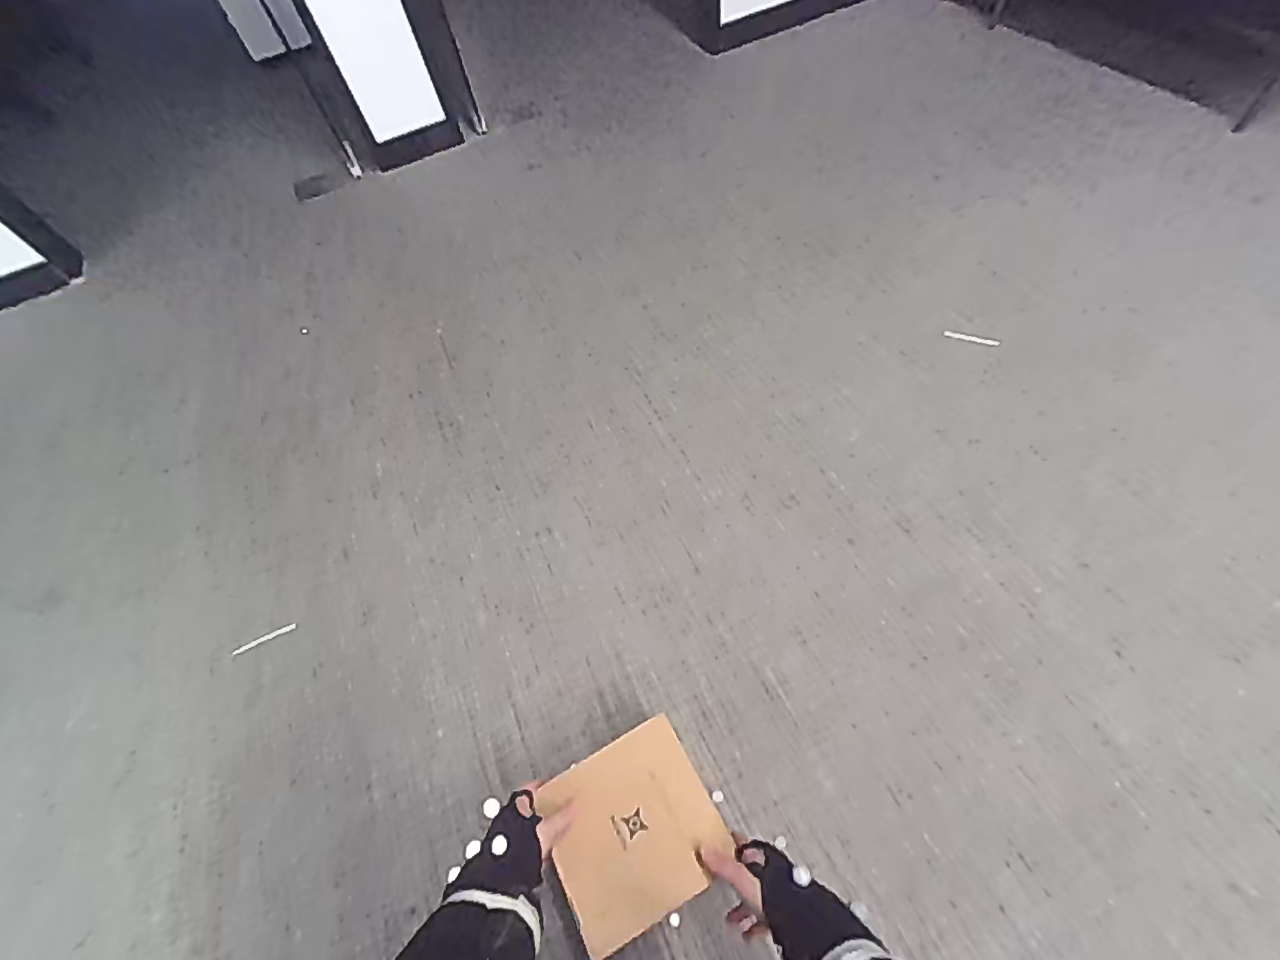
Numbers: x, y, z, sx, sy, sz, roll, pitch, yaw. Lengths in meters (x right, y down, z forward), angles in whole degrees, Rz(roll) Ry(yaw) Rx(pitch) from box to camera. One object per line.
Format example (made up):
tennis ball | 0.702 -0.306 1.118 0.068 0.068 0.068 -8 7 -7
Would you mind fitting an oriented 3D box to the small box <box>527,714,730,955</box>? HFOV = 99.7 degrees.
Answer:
small box | -0.006 0.413 0.648 0.179 0.176 0.168 -27 59 -9
